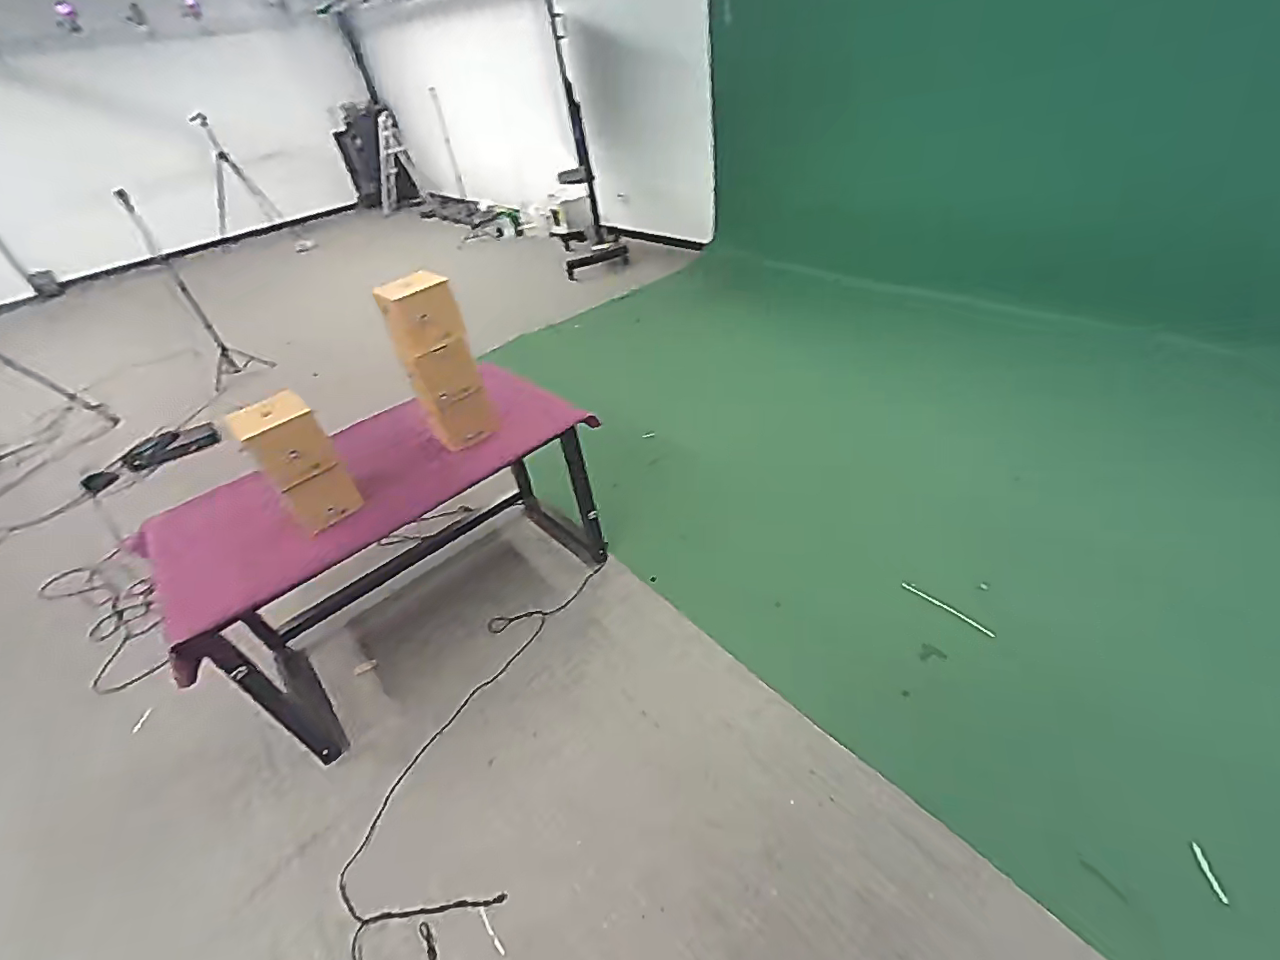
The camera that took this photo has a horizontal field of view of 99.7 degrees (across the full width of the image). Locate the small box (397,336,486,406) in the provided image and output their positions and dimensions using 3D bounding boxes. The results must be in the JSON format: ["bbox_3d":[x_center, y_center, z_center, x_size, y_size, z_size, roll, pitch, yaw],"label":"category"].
[{"bbox_3d":[-0.594,-0.344,1.633,0.168,0.176,0.179,-34,43,-25],"label":"small box"}]

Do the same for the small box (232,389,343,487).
[{"bbox_3d":[-0.910,-0.106,1.406,0.168,0.176,0.179,-35,46,-29],"label":"small box"}]

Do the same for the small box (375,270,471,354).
[{"bbox_3d":[-0.611,-0.474,1.537,0.168,0.176,0.179,-36,44,-26],"label":"small box"}]

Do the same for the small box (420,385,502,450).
[{"bbox_3d":[-0.572,-0.221,1.738,0.168,0.176,0.179,-34,44,-24],"label":"small box"}]
